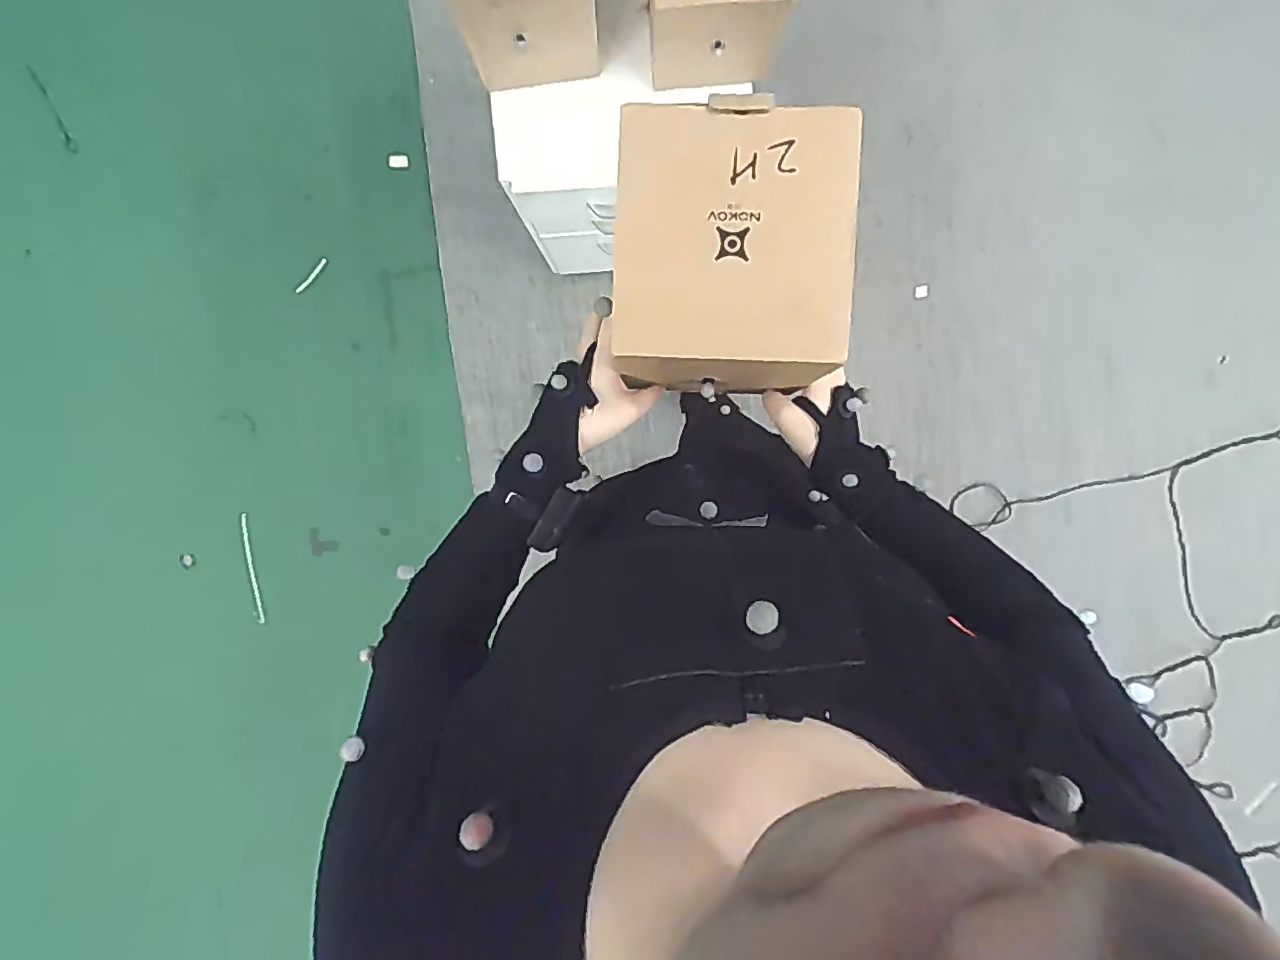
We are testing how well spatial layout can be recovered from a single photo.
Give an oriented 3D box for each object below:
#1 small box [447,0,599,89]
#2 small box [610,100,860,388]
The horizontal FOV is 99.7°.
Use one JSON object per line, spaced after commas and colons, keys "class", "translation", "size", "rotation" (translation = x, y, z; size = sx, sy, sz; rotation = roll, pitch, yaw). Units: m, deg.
{"class": "small box", "translation": [-0.155, -0.659, 0.720], "size": [0.179, 0.176, 0.168], "rotation": [-8, 98, 0]}
{"class": "small box", "translation": [0.067, -0.175, 0.455], "size": [0.168, 0.176, 0.179], "rotation": [3, 92, 1]}
